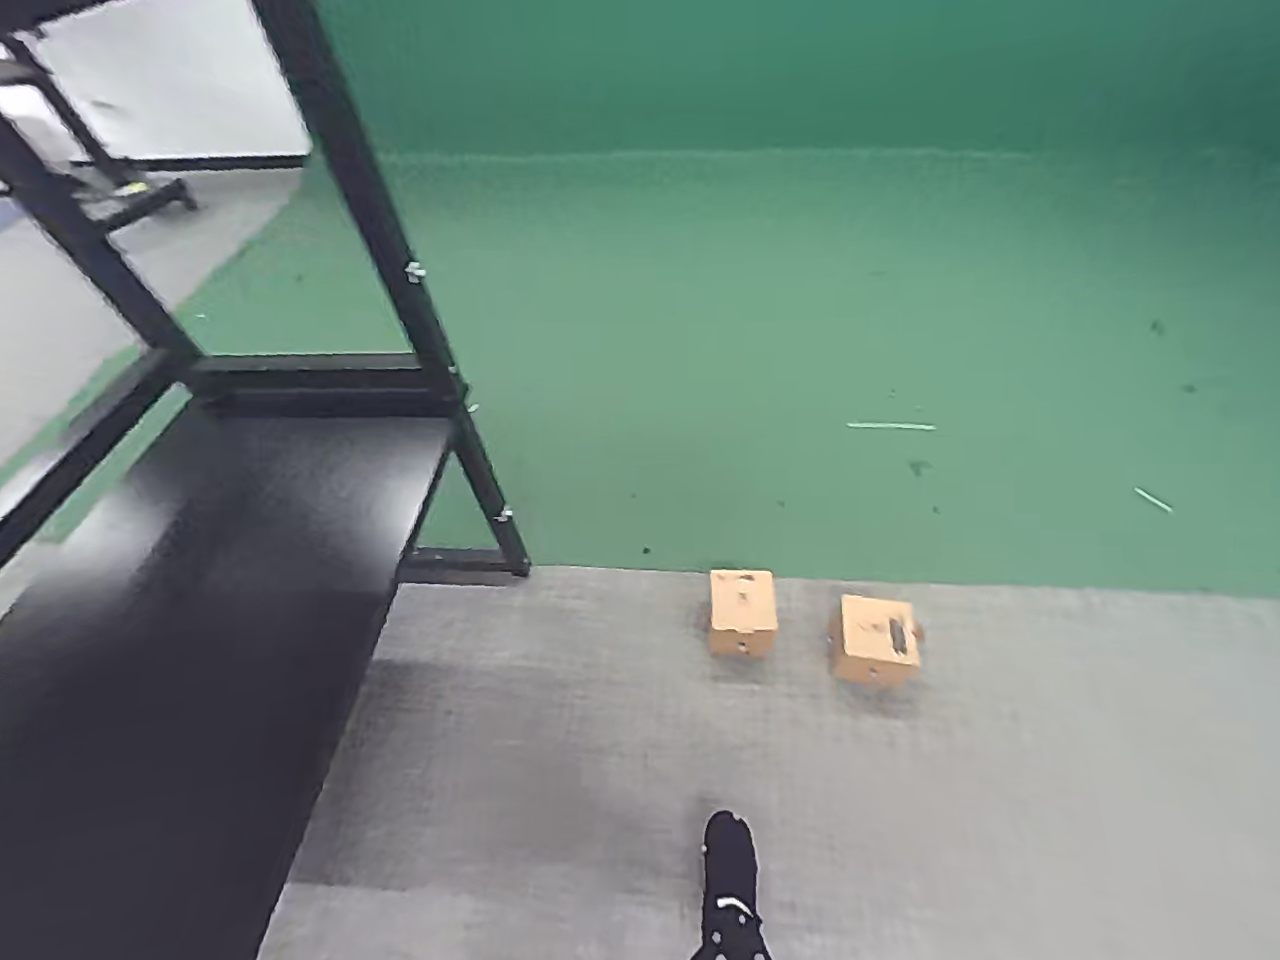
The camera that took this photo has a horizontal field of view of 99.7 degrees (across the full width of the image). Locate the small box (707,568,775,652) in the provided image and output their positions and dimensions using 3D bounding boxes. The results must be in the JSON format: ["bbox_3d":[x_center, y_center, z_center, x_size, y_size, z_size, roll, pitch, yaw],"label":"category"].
[{"bbox_3d":[0.270,0.358,1.473,0.168,0.176,0.179,0,52,4],"label":"small box"}]
